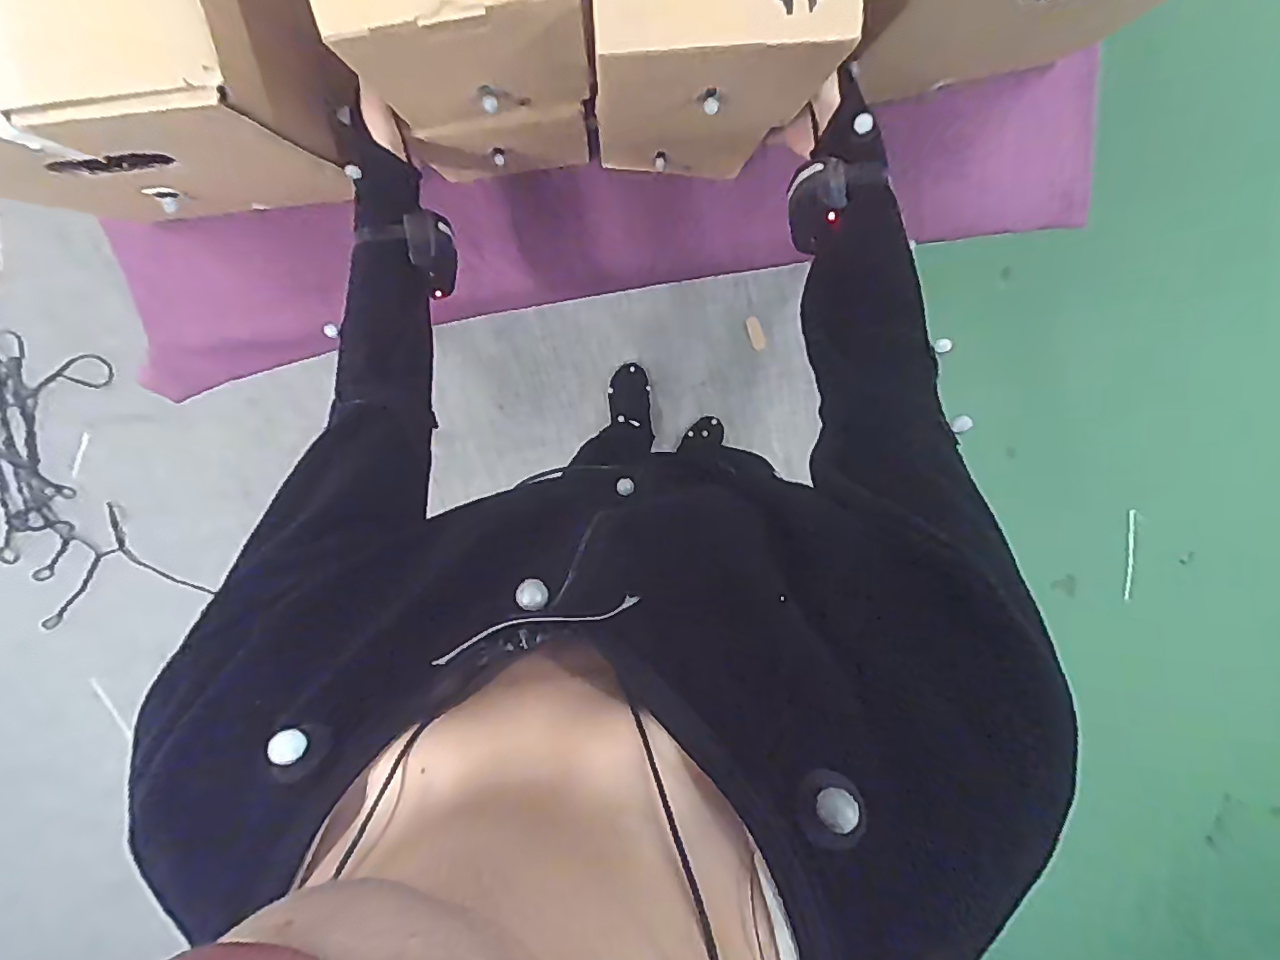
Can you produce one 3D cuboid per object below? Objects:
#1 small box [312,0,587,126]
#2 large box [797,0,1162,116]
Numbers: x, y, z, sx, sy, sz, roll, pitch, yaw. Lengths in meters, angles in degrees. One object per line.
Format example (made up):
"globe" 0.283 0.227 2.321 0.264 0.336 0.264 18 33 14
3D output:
"small box" -0.136 -0.394 0.390 0.168 0.176 0.179 -10 106 1
"large box" 0.315 -0.611 0.452 0.320 0.320 0.408 -12 107 3
